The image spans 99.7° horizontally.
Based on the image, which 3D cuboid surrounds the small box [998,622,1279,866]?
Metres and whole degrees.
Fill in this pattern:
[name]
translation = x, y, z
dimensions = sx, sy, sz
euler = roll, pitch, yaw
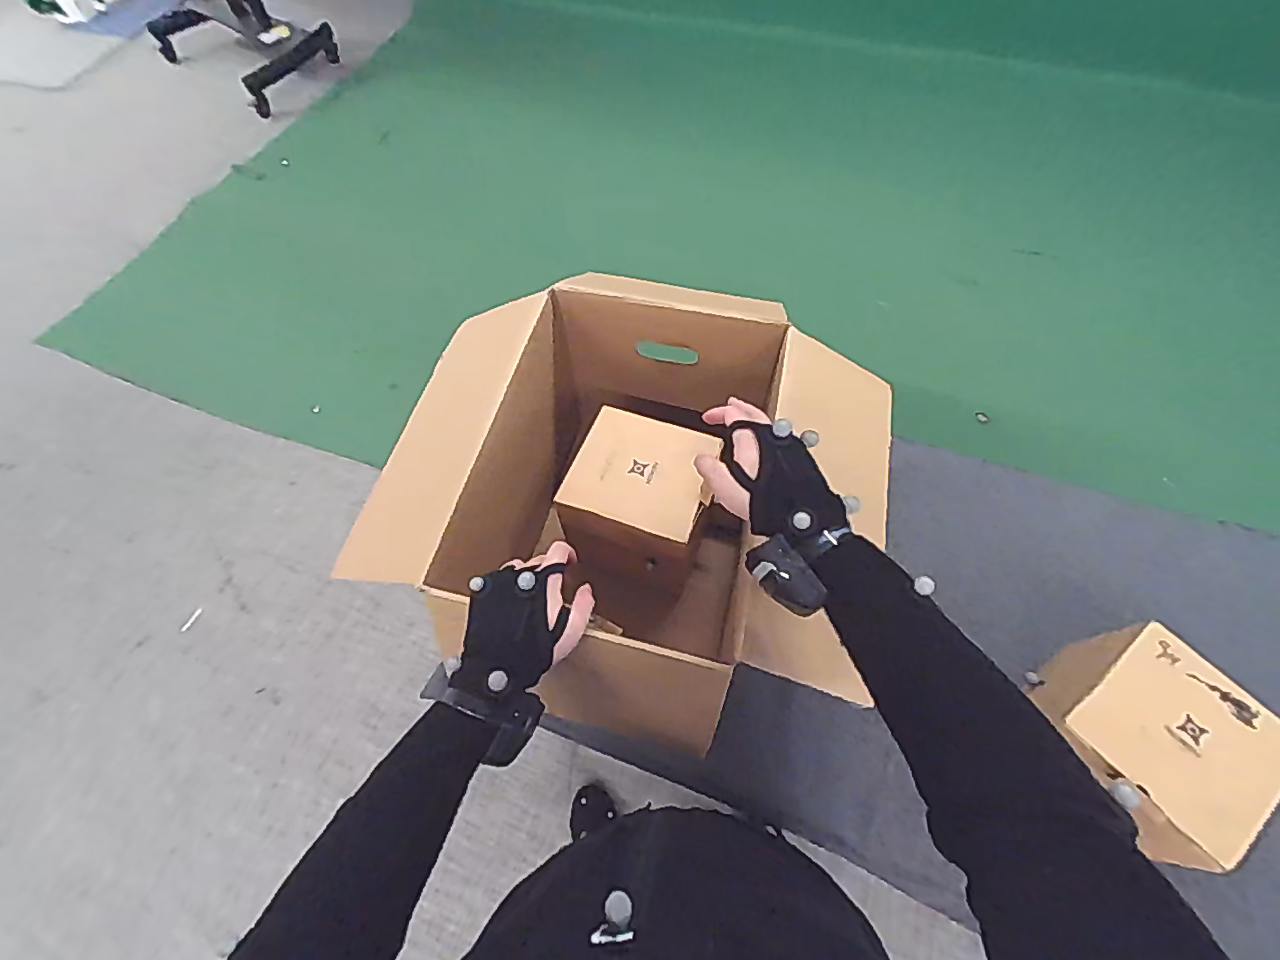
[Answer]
[small box]
translation = 0.564, 0.299, 0.628
dimensions = 0.179, 0.176, 0.168
euler = -35, 66, -14
